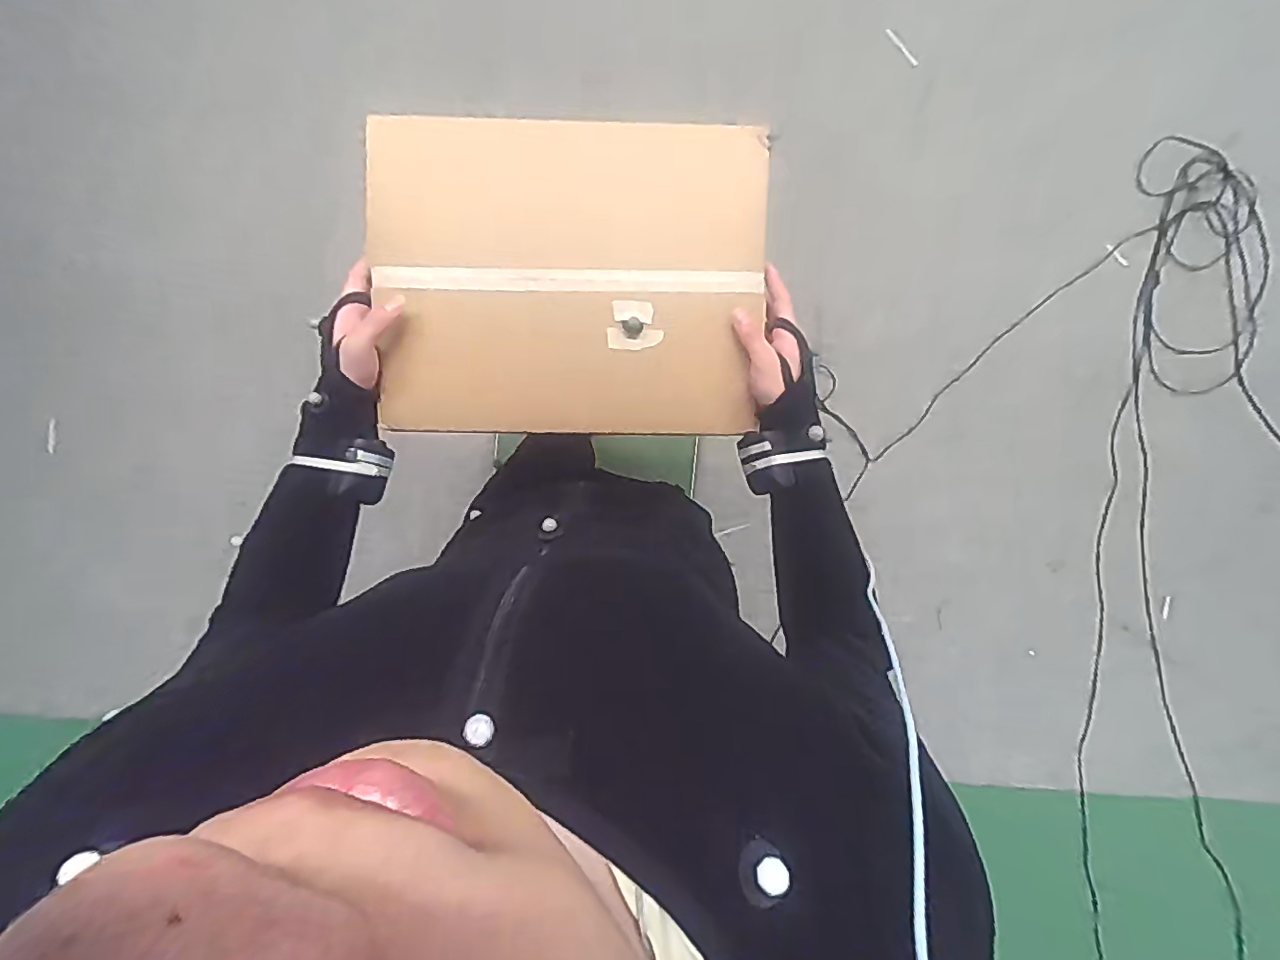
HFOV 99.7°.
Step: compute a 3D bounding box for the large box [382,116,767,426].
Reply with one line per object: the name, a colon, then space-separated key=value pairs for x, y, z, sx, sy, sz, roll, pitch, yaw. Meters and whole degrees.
large box: x=-0.073 y=-0.231 z=0.717 sx=0.408 sy=0.320 sz=0.320 roll=1 pitch=96 yaw=-2
